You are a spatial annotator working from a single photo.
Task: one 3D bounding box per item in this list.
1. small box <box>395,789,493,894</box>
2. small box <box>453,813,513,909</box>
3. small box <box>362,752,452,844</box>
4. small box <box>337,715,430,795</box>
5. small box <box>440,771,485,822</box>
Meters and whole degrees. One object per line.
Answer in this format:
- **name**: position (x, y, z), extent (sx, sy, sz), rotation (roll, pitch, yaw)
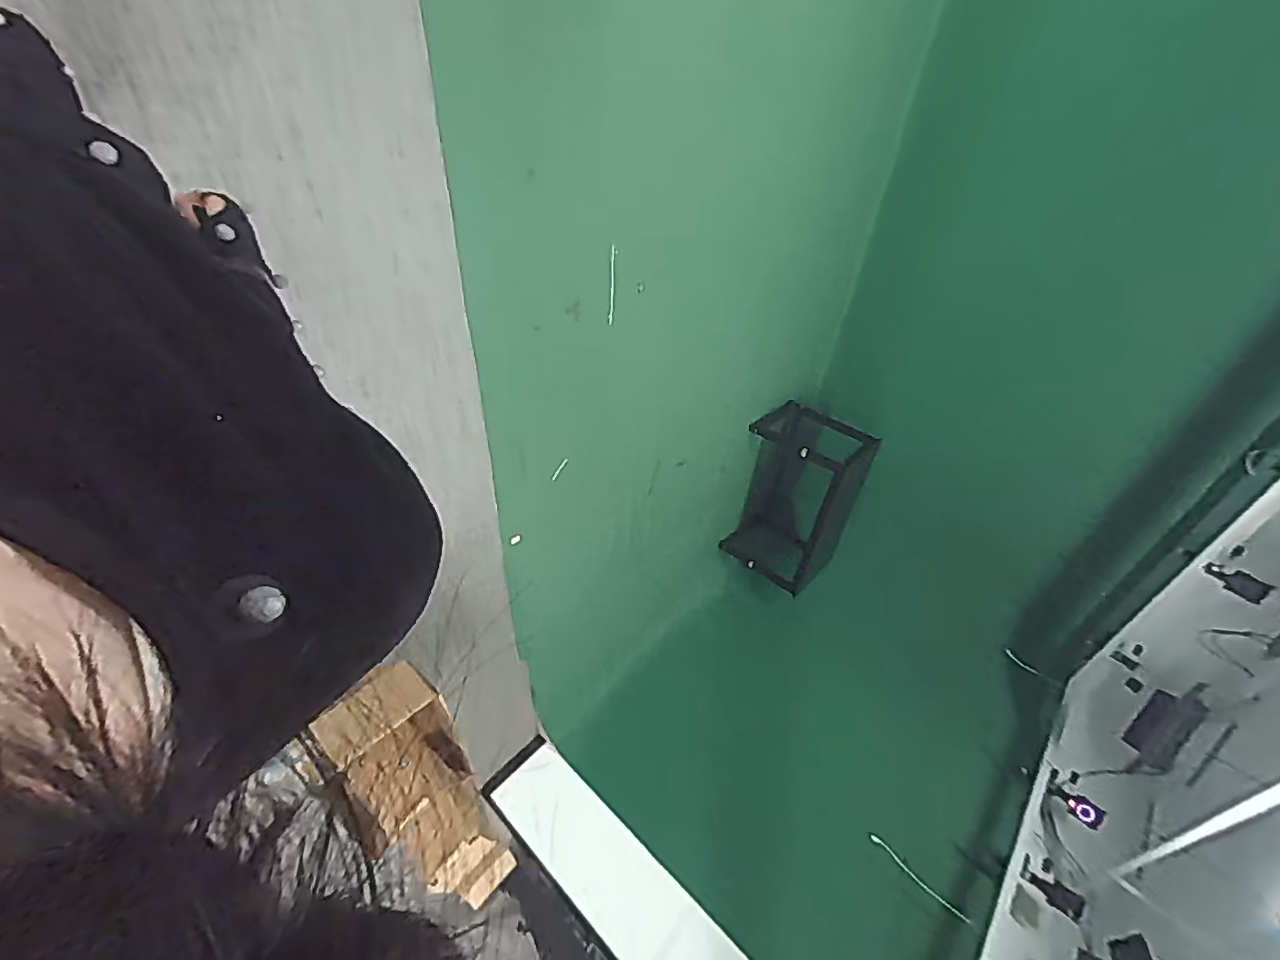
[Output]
- **small box**: position (-0.550, 1.007, 1.515), extent (0.168, 0.176, 0.179), rotation (-40, 145, -26)
- **small box**: position (-0.532, 1.203, 1.715), extent (0.168, 0.176, 0.179), rotation (-37, 143, -34)
- **small box**: position (-0.678, 0.939, 1.594), extent (0.168, 0.176, 0.179), rotation (-42, 147, -24)
- **small box**: position (-0.797, 0.865, 1.679), extent (0.168, 0.176, 0.179), rotation (-42, 147, -24)
- **small box**: position (-0.650, 1.119, 1.795), extent (0.179, 0.176, 0.168), rotation (-39, 144, -32)
